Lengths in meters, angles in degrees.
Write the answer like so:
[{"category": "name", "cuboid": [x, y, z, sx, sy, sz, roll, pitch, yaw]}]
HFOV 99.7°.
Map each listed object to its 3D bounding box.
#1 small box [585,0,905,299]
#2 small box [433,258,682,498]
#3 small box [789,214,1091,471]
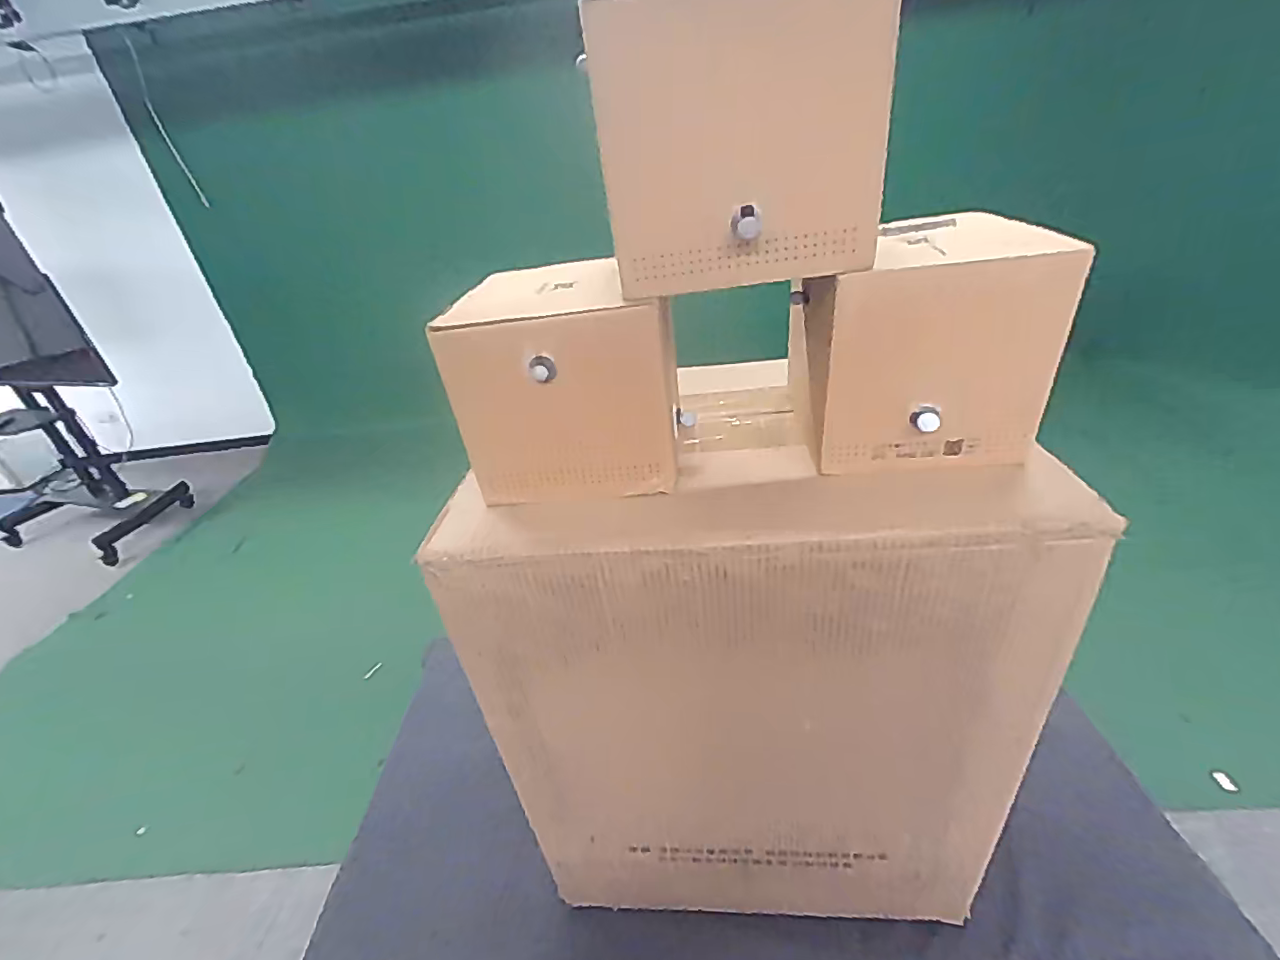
[{"category": "small box", "cuboid": [0.065, -0.245, 0.397, 0.179, 0.176, 0.168, -5, 34, 4]}, {"category": "small box", "cuboid": [-0.055, -0.094, 0.498, 0.179, 0.176, 0.168, -2, 35, 6]}, {"category": "small box", "cuboid": [0.229, -0.123, 0.476, 0.168, 0.176, 0.179, -3, 35, 7]}]
